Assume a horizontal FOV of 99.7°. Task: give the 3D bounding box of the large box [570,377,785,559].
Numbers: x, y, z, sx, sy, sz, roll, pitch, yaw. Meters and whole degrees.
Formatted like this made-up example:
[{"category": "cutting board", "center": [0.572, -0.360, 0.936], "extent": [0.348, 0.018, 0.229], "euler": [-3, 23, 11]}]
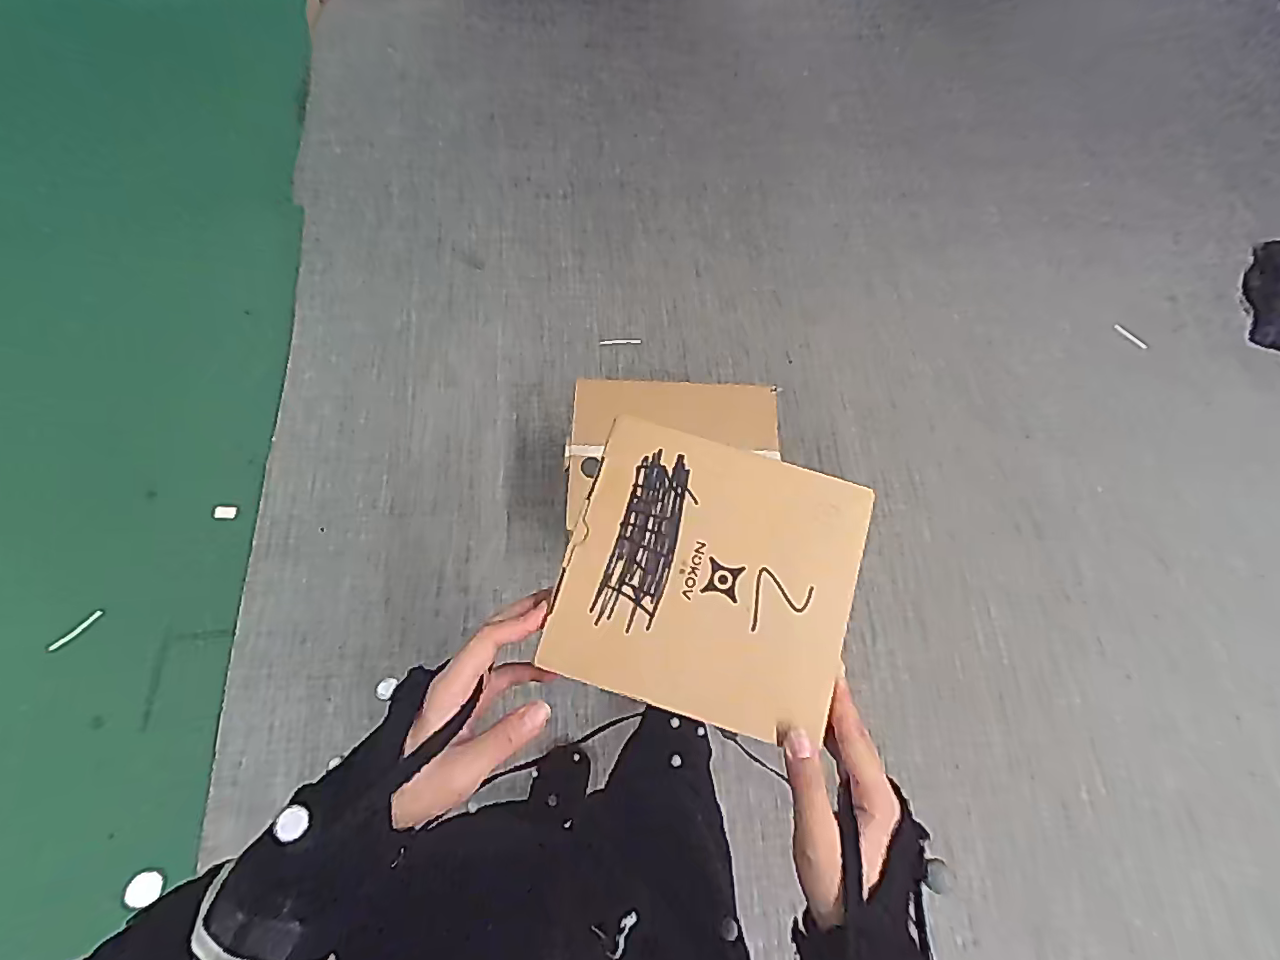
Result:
[{"category": "large box", "center": [0.062, -0.007, 1.171], "extent": [0.408, 0.320, 0.320], "euler": [2, 73, -2]}]
